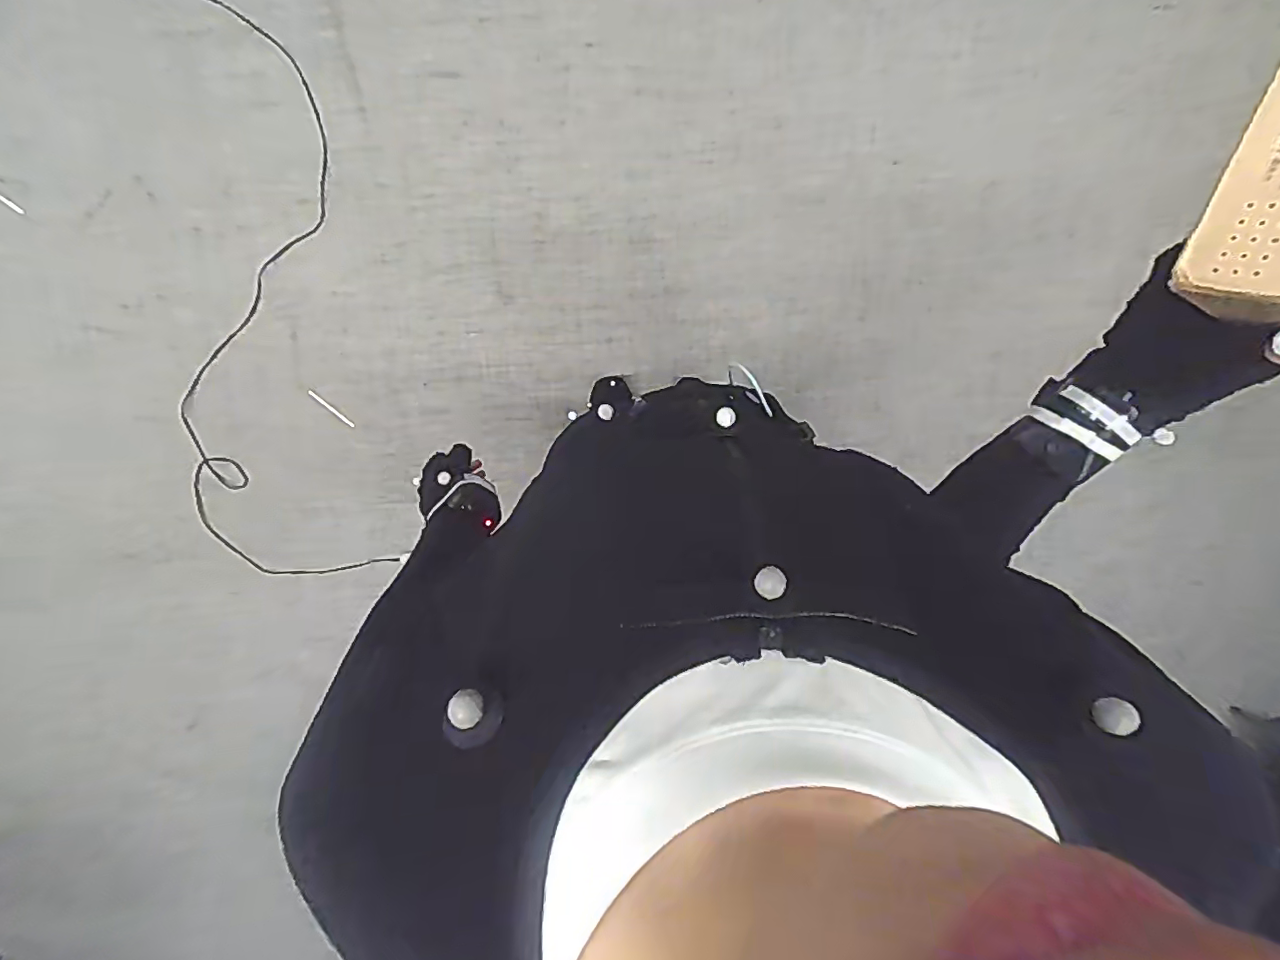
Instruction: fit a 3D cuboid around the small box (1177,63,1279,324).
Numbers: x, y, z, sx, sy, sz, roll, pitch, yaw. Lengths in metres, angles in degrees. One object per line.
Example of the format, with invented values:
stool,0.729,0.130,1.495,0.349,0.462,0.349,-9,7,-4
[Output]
small box,0.365,-0.138,0.206,0.179,0.176,0.168,-6,117,-37
